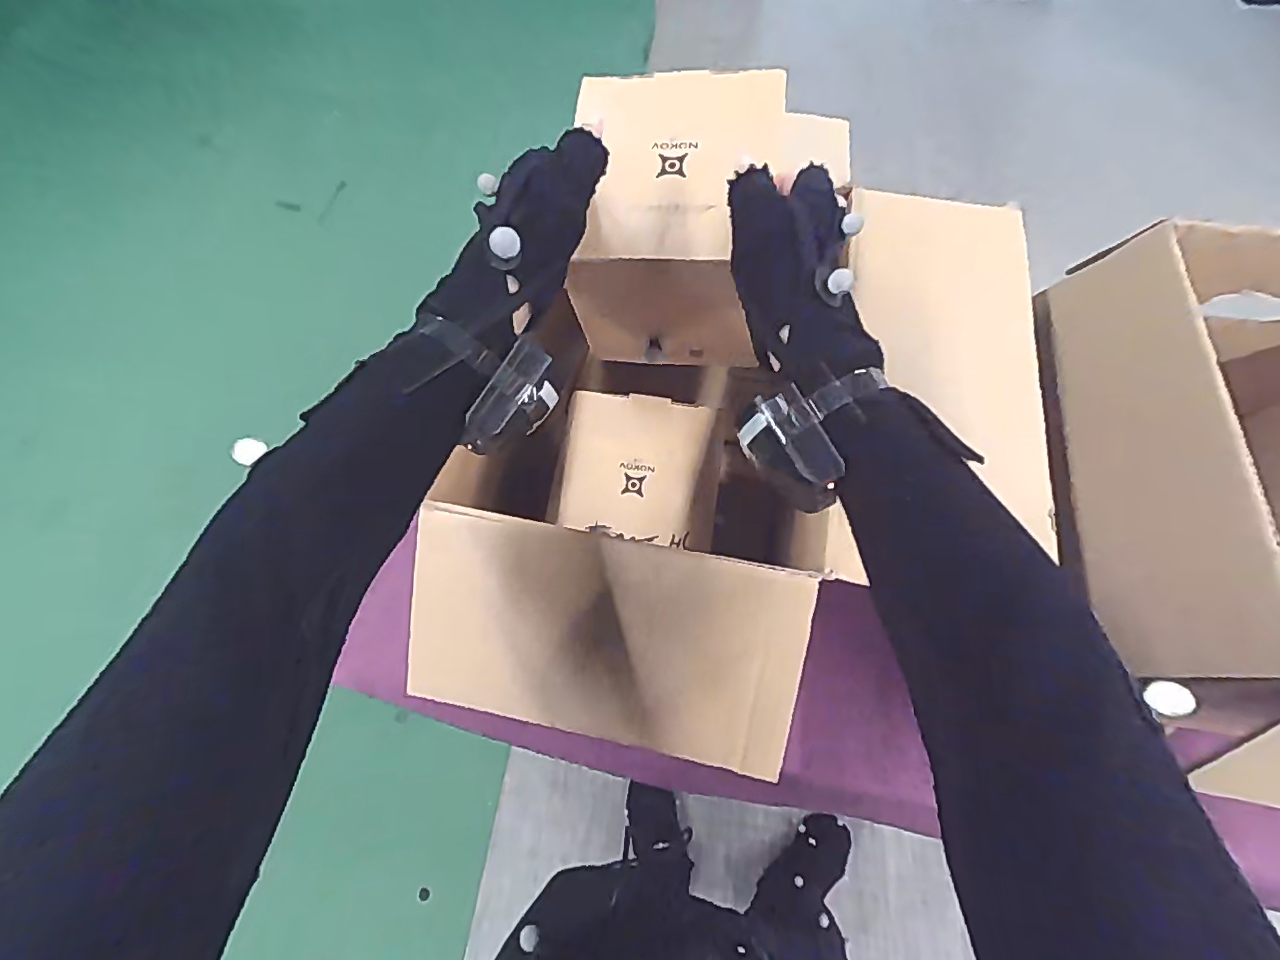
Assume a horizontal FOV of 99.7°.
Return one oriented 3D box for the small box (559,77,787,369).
[{"bbox_3d":[0.037,-0.222,0.496,0.168,0.176,0.179,4,75,9],"label":"small box"}]
